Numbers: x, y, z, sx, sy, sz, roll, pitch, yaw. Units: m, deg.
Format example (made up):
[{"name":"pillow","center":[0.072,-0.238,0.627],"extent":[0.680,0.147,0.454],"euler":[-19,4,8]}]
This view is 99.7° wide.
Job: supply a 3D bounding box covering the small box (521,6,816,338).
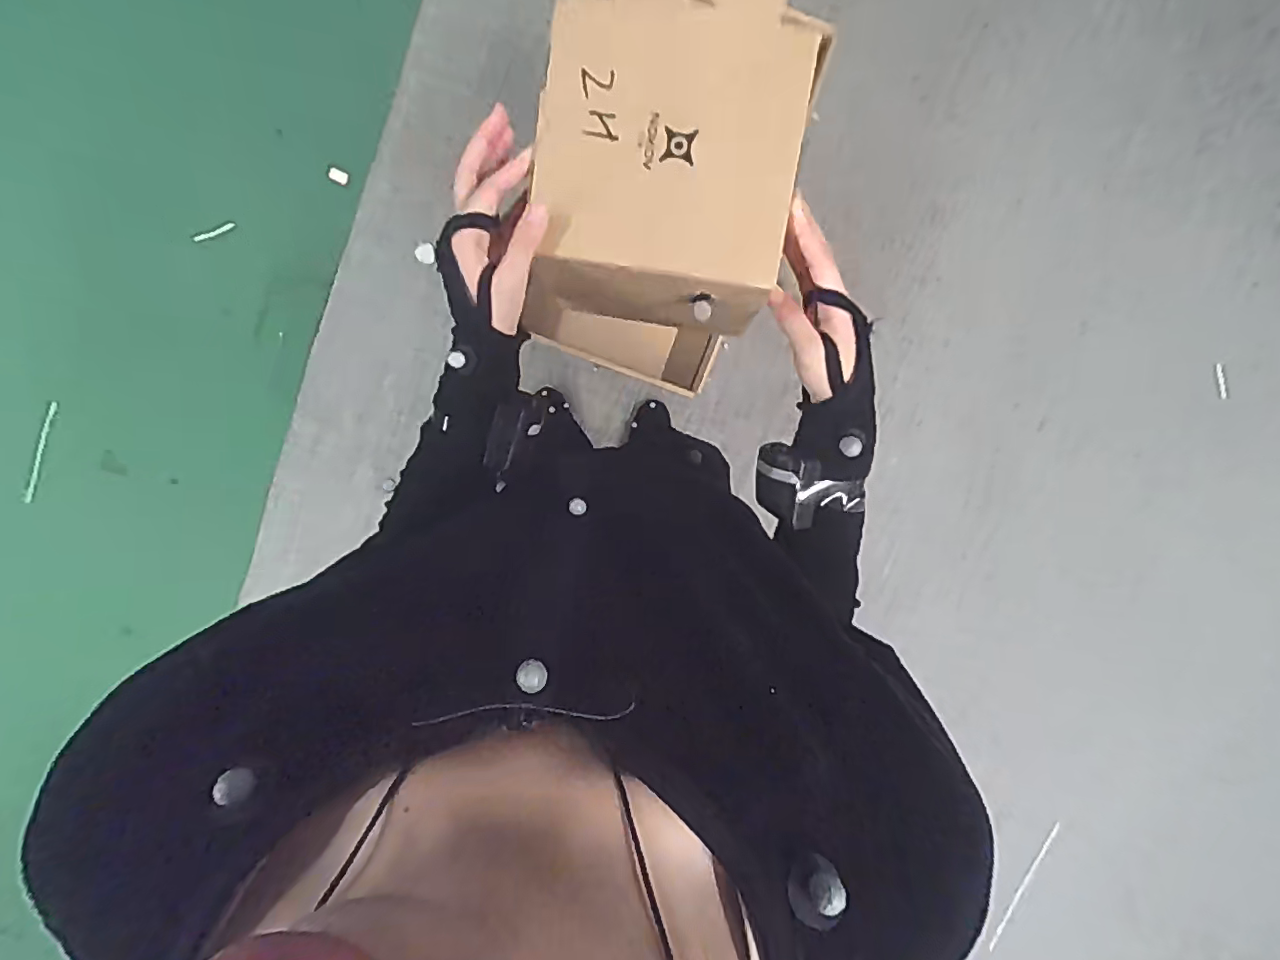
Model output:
[{"name":"small box","center":[0.019,-0.222,0.440],"extent":[0.179,0.176,0.168],"euler":[9,92,1]}]
